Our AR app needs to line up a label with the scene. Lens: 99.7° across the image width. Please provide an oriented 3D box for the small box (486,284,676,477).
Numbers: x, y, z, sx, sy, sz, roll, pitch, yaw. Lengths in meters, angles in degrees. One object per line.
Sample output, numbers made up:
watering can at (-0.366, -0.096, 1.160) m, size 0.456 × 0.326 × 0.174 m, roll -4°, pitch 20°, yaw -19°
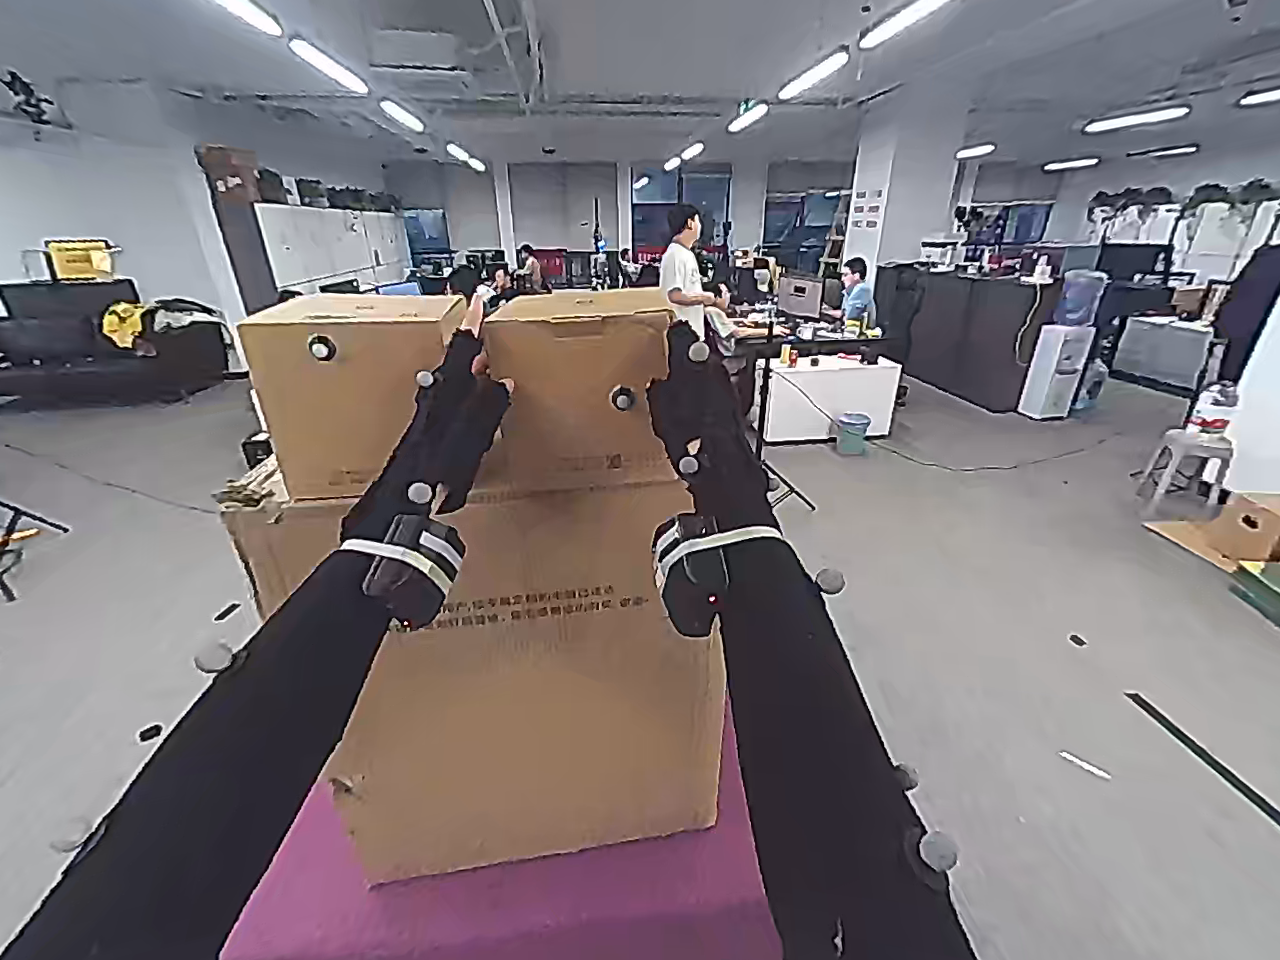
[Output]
small box at (-0.050, -0.107, 0.574) m, size 0.168 × 0.176 × 0.179 m, roll -3°, pitch 24°, yaw -1°

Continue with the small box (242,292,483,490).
small box at (-0.263, -0.101, 0.564) m, size 0.168 × 0.176 × 0.179 m, roll -4°, pitch 25°, yaw -8°
